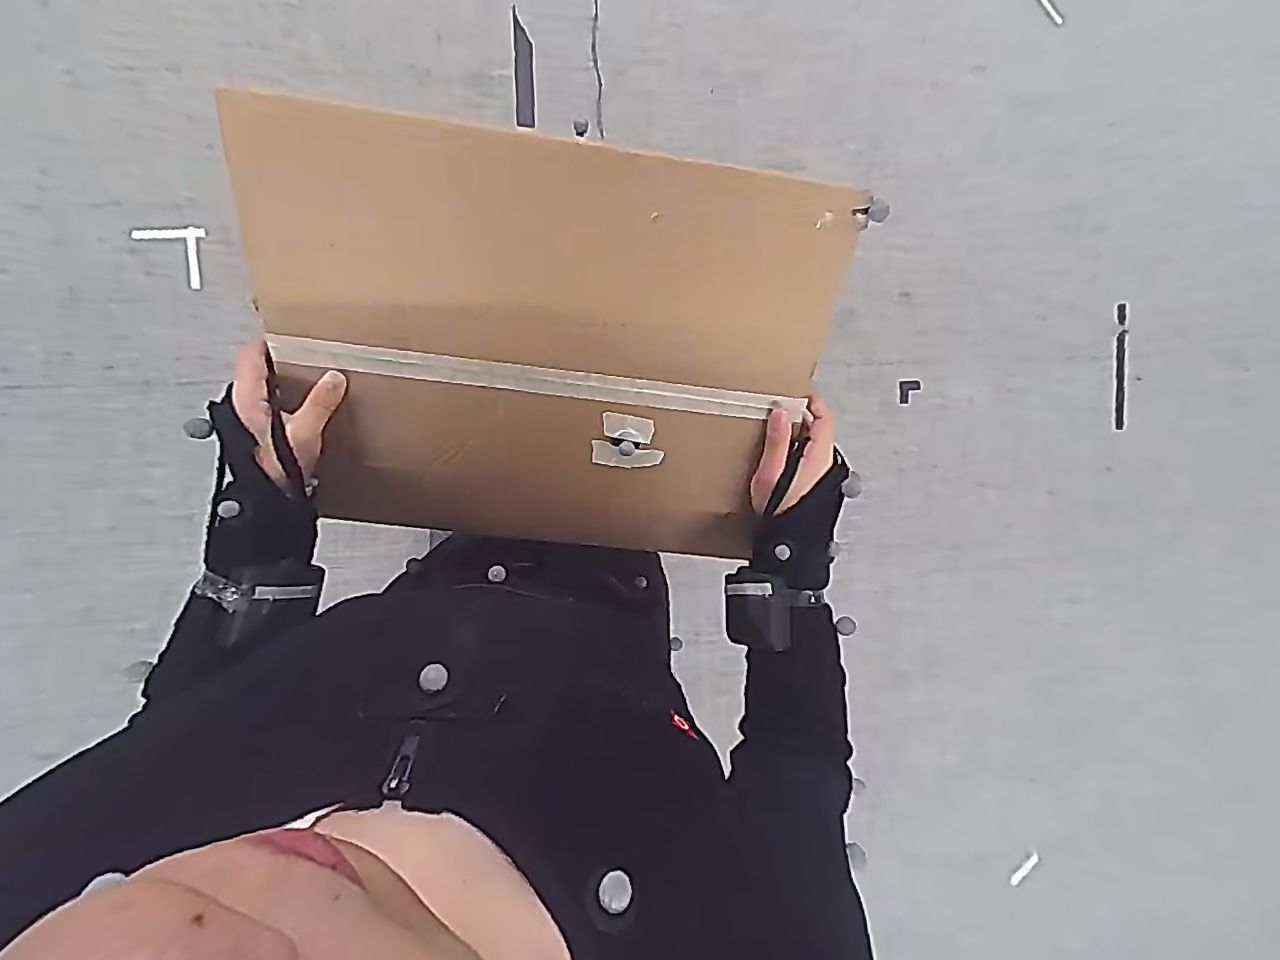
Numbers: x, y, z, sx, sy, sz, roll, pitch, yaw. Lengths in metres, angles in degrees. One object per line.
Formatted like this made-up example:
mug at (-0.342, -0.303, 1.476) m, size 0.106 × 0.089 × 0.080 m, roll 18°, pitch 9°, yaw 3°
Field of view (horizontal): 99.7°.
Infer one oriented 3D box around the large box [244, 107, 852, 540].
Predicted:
large box at (-0.075, -0.162, 0.554) m, size 0.408 × 0.320 × 0.320 m, roll 5°, pitch 122°, yaw -6°
